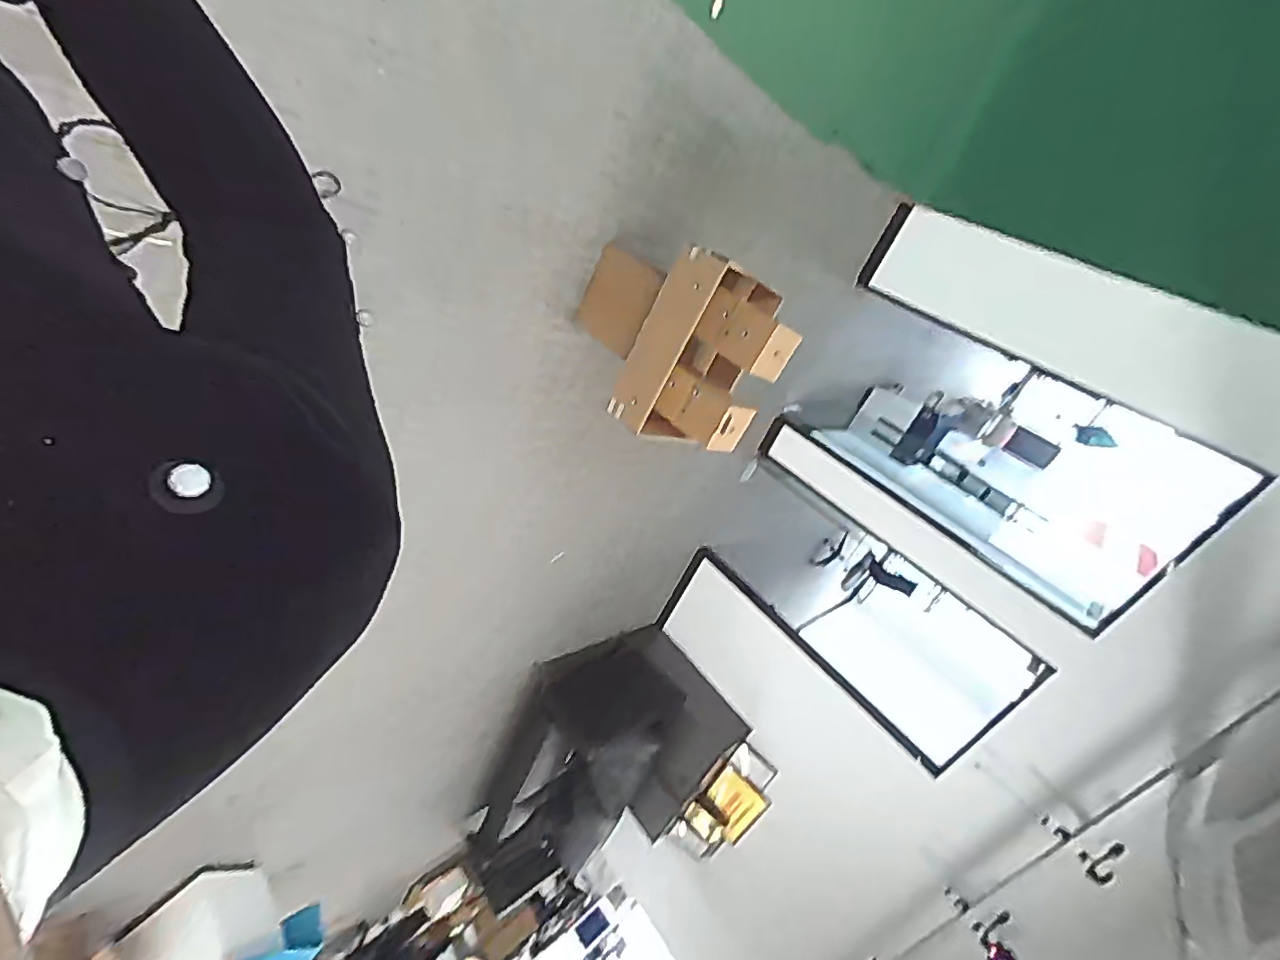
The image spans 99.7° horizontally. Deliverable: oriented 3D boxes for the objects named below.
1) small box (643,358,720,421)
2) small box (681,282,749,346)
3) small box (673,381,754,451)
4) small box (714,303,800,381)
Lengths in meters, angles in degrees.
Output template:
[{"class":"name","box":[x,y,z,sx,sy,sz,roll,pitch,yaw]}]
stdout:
[{"class":"small box","box":[0.141,-0.313,1.904,0.179,0.176,0.168,0,125,-51]},{"class":"small box","box":[0.271,-0.537,1.802,0.179,0.176,0.168,3,122,-52]},{"class":"small box","box":[0.243,-0.216,1.819,0.179,0.176,0.168,0,126,-51]},{"class":"small box","box":[0.366,-0.439,1.712,0.179,0.176,0.168,2,125,-51]}]
